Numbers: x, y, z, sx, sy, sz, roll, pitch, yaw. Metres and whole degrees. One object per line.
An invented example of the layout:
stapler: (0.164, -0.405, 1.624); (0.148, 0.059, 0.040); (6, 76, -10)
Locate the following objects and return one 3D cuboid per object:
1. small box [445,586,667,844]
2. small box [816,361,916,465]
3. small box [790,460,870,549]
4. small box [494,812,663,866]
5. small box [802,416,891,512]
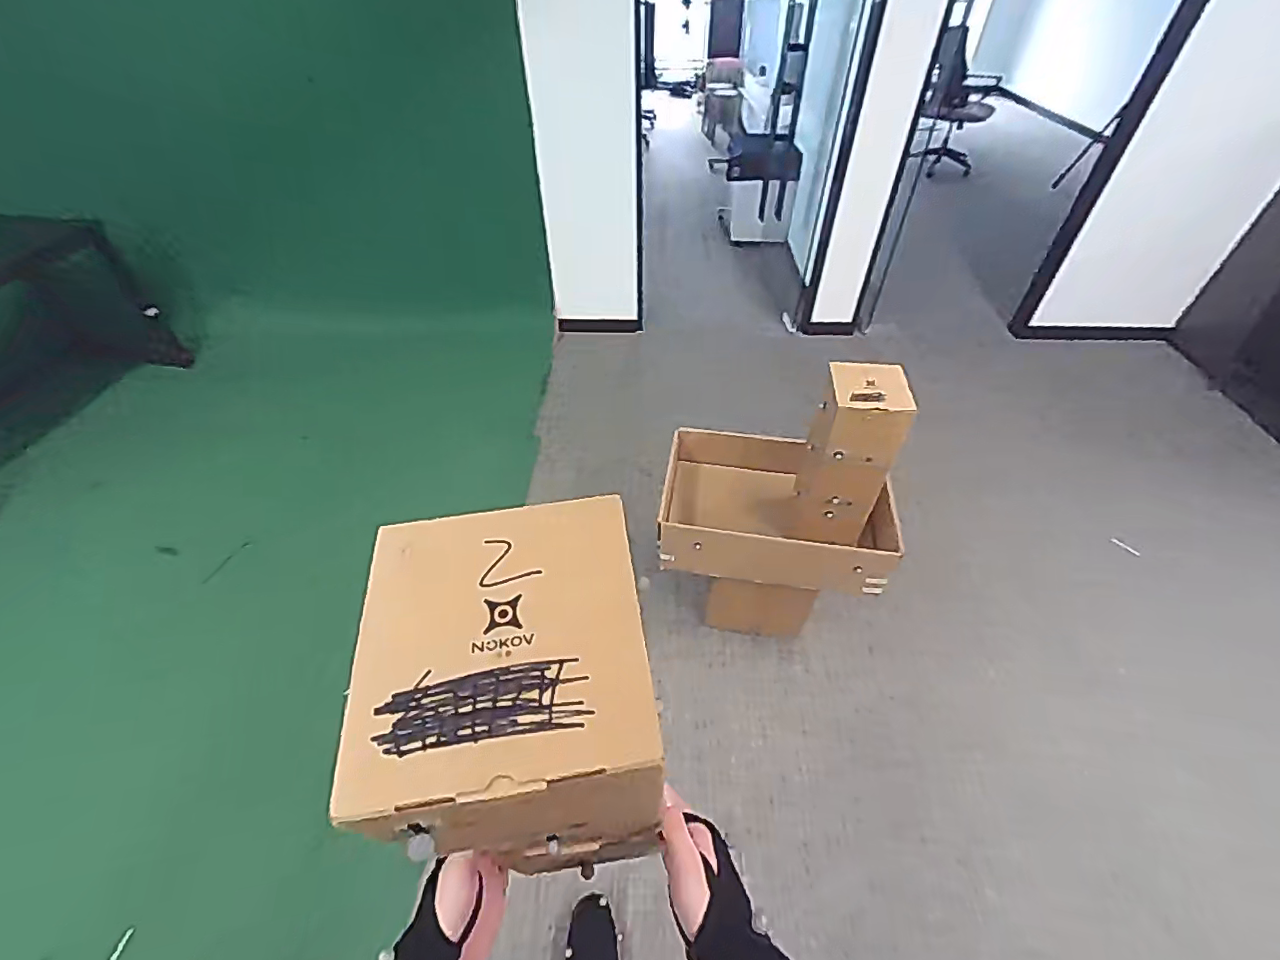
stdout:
small box: (-0.070, 0.224, 0.512); (0.168, 0.176, 0.179); (-6, 51, -4)
small box: (0.514, -0.153, 1.255); (0.168, 0.176, 0.179); (5, 45, 5)
small box: (0.516, 0.067, 1.496); (0.168, 0.176, 0.179); (5, 45, 6)
small box: (-0.067, 0.331, 0.633); (0.168, 0.176, 0.179); (-6, 51, -3)
small box: (0.515, -0.043, 1.376); (0.168, 0.176, 0.179); (5, 47, 6)
